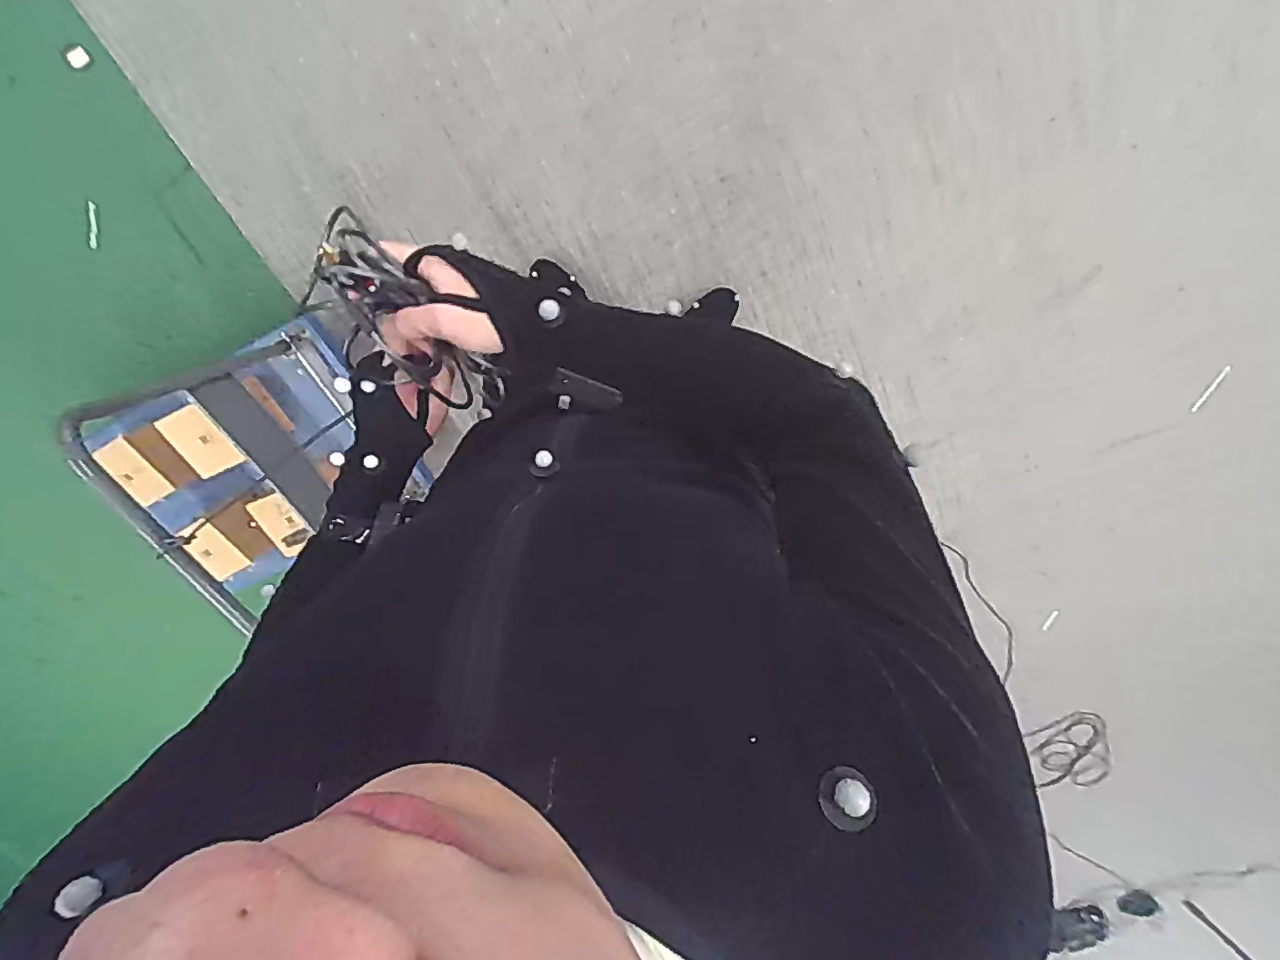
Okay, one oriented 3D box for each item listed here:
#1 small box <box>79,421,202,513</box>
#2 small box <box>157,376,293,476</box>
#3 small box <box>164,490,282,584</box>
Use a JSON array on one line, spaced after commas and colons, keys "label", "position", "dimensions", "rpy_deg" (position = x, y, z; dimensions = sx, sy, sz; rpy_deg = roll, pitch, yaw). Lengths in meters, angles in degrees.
[{"label": "small box", "position": [-1.277, -0.047, 1.421], "dimensions": [0.179, 0.176, 0.168], "rpy_deg": [-25, 114, 12]}, {"label": "small box", "position": [-1.038, -0.141, 1.370], "dimensions": [0.179, 0.176, 0.168], "rpy_deg": [-22, 115, 11]}, {"label": "small box", "position": [-1.157, 0.155, 1.522], "dimensions": [0.179, 0.176, 0.168], "rpy_deg": [-27, 113, 14]}]
